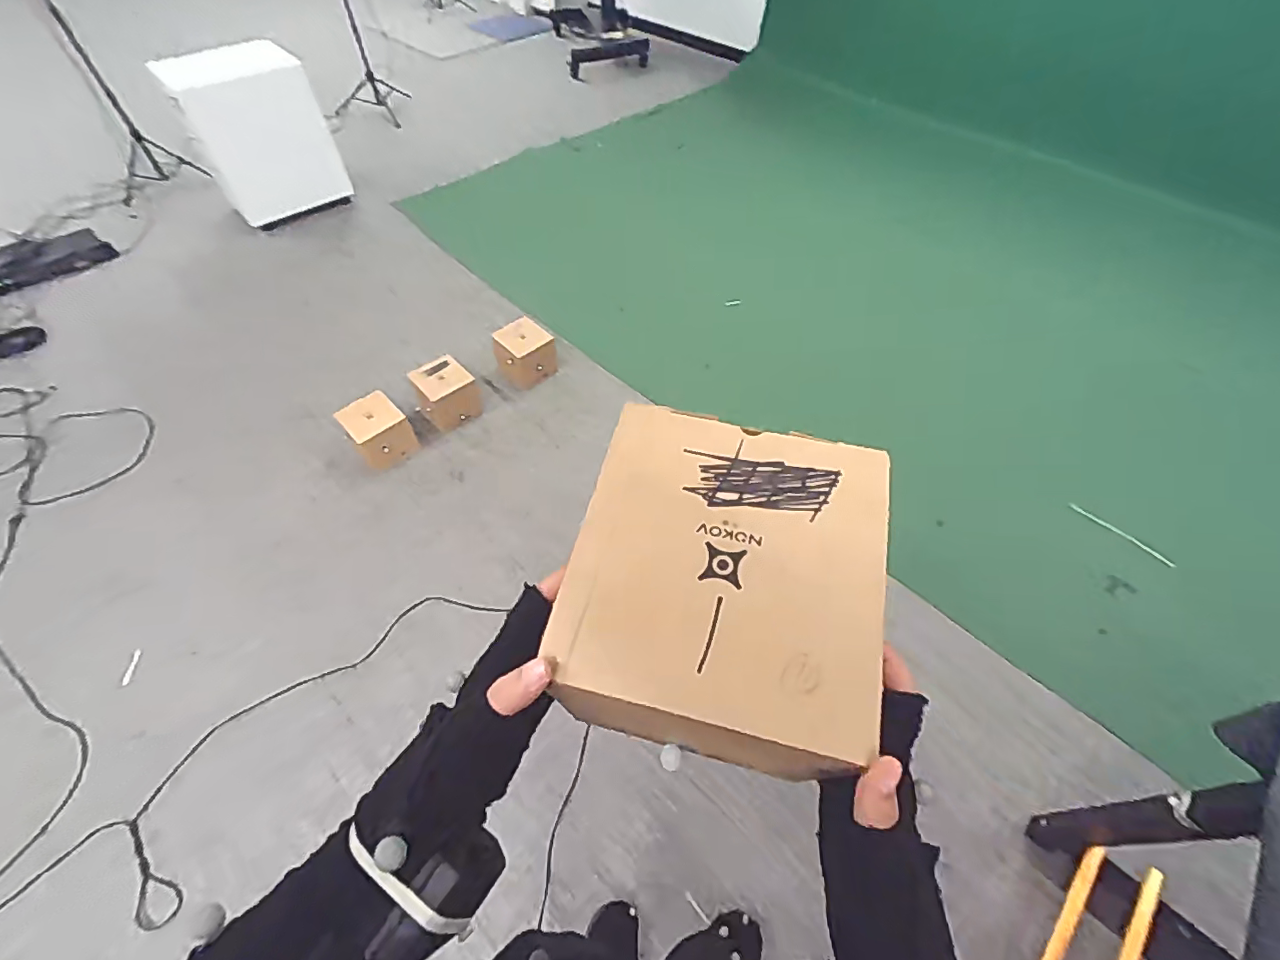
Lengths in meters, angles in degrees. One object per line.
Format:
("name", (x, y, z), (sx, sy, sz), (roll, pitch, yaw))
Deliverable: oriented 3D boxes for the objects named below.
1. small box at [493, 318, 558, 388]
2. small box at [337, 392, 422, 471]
("small box", (-0.424, -0.471, 2.039), (0.168, 0.176, 0.179), (-38, 63, -26))
("small box", (-0.857, -0.153, 1.794), (0.179, 0.176, 0.168), (39, 62, 24))
